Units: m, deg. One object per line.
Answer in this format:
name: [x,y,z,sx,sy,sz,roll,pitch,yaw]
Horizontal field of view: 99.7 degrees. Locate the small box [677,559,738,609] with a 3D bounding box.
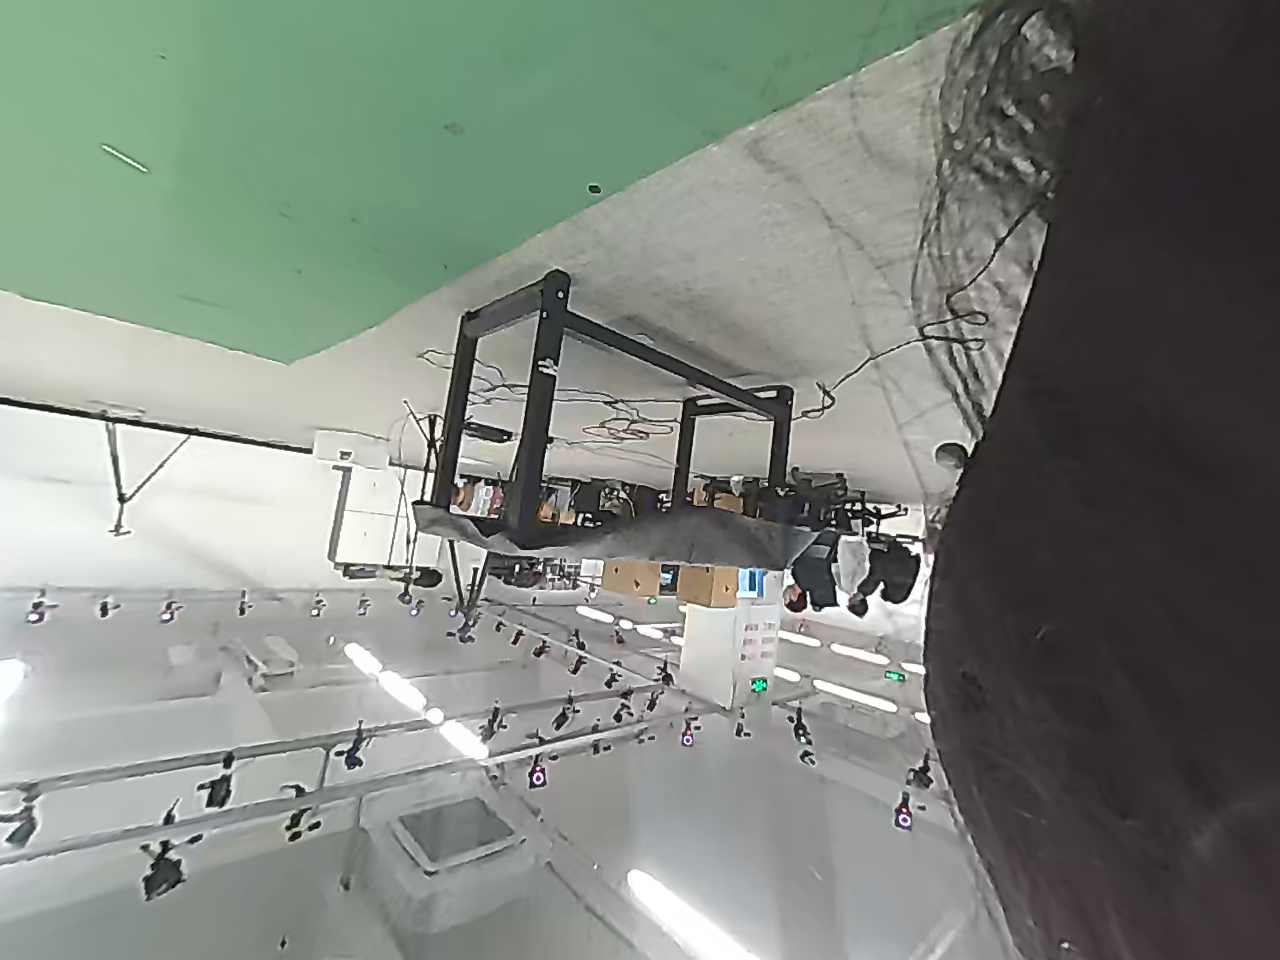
small box: [0.265,0.404,2.112,0.168,0.176,0.179,2,173,43]

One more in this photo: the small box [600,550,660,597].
small box: [-0.038,0.376,2.191,0.179,0.176,0.168,12,172,-44]
